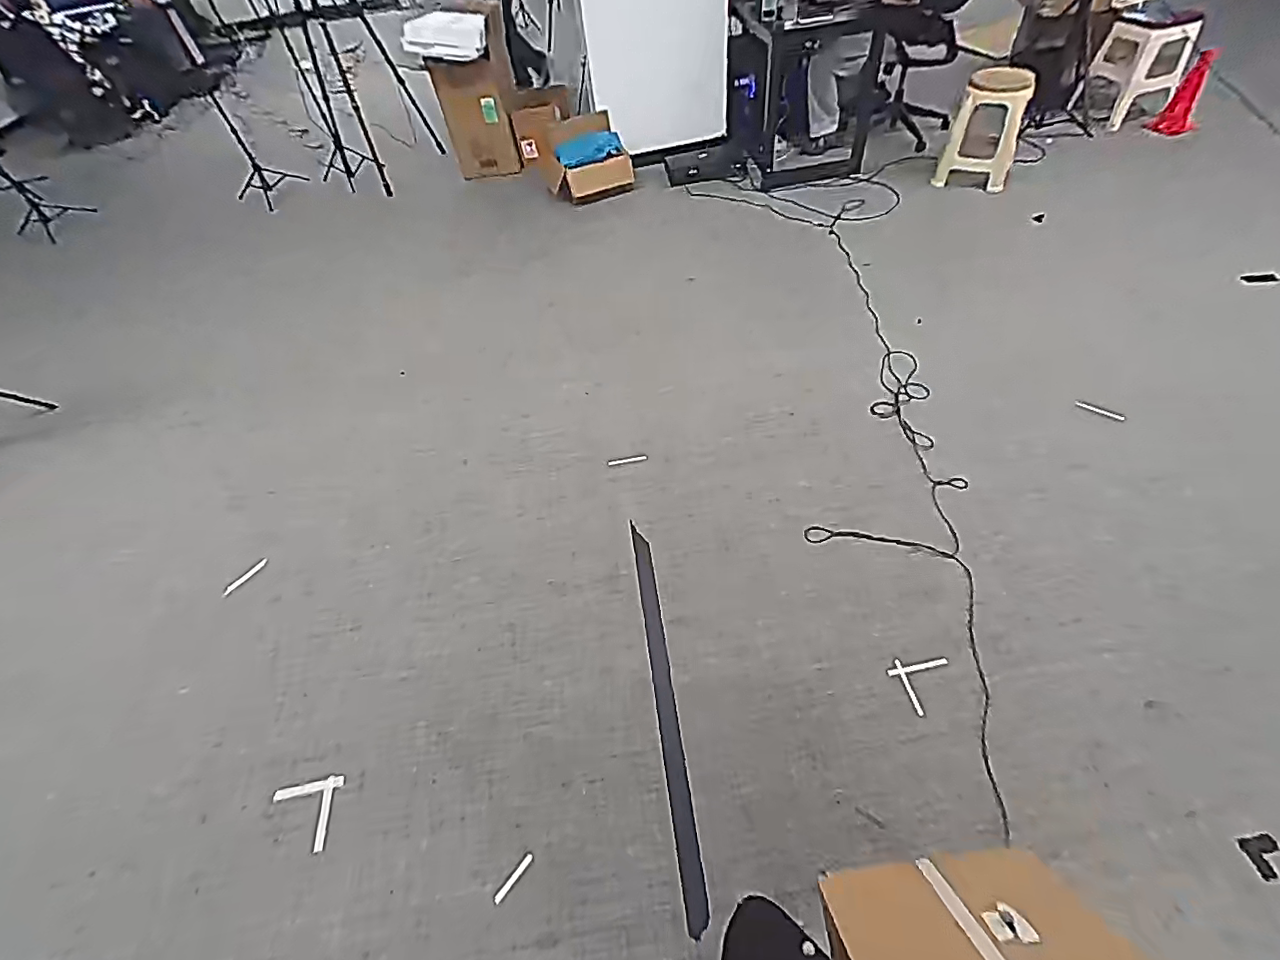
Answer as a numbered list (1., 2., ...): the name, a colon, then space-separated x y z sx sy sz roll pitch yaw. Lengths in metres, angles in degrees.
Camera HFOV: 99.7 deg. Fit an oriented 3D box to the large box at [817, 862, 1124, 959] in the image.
1. large box: 0.432 0.723 0.598 0.320 0.408 0.320 -7 85 1
